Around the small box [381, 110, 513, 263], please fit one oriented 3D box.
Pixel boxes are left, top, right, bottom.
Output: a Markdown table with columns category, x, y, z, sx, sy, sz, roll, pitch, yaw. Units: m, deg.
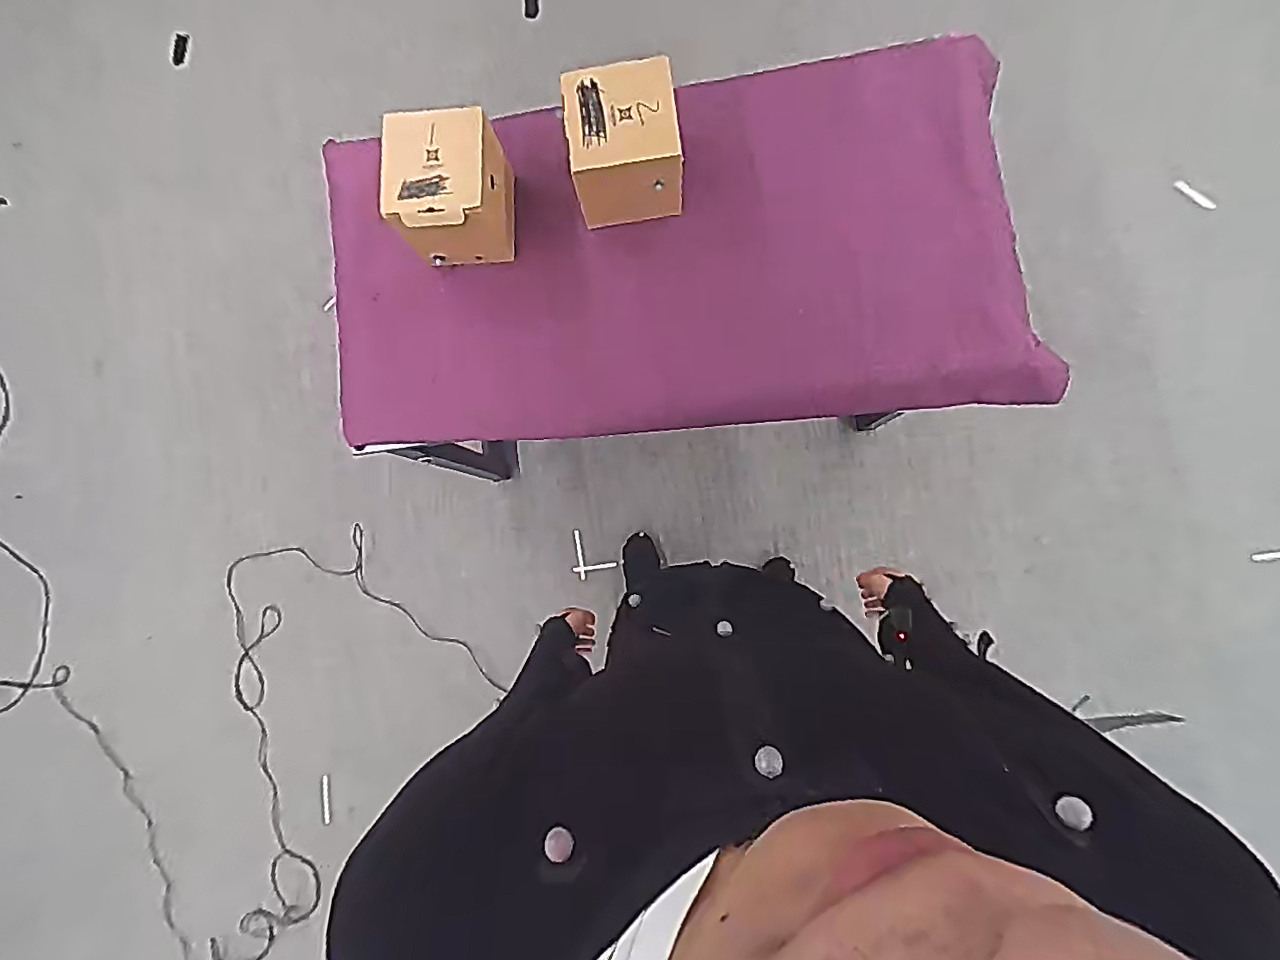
| category | x | y | z | sx | sy | sz | roll | pitch | yaw |
| --- | --- | --- | --- | --- | --- | --- | --- | --- | --- |
| small box | -0.321 | -0.490 | 0.930 | 0.168 | 0.176 | 0.179 | -2 | 84 | 3 |
